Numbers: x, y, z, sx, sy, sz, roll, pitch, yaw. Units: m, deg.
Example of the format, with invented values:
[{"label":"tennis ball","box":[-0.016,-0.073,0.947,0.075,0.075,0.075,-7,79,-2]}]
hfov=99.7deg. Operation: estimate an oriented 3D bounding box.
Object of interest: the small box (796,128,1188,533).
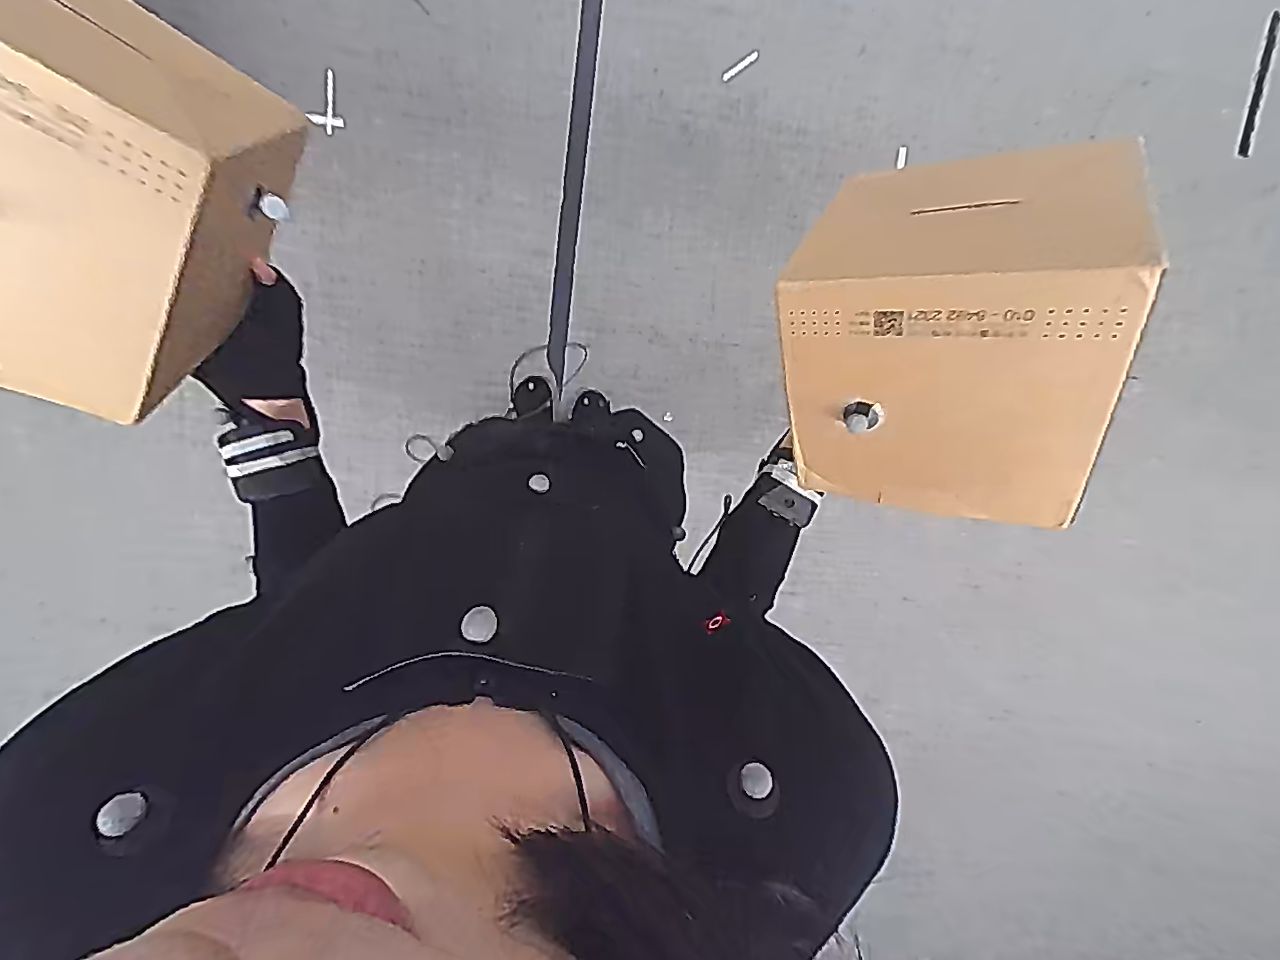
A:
[{"label":"small box","box":[0.207,-0.097,0.349,0.168,0.179,0.176,11,139,30]}]

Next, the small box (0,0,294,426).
[{"label":"small box","box":[-0.317,-0.165,0.285,0.168,0.179,0.176,25,117,-30]}]
